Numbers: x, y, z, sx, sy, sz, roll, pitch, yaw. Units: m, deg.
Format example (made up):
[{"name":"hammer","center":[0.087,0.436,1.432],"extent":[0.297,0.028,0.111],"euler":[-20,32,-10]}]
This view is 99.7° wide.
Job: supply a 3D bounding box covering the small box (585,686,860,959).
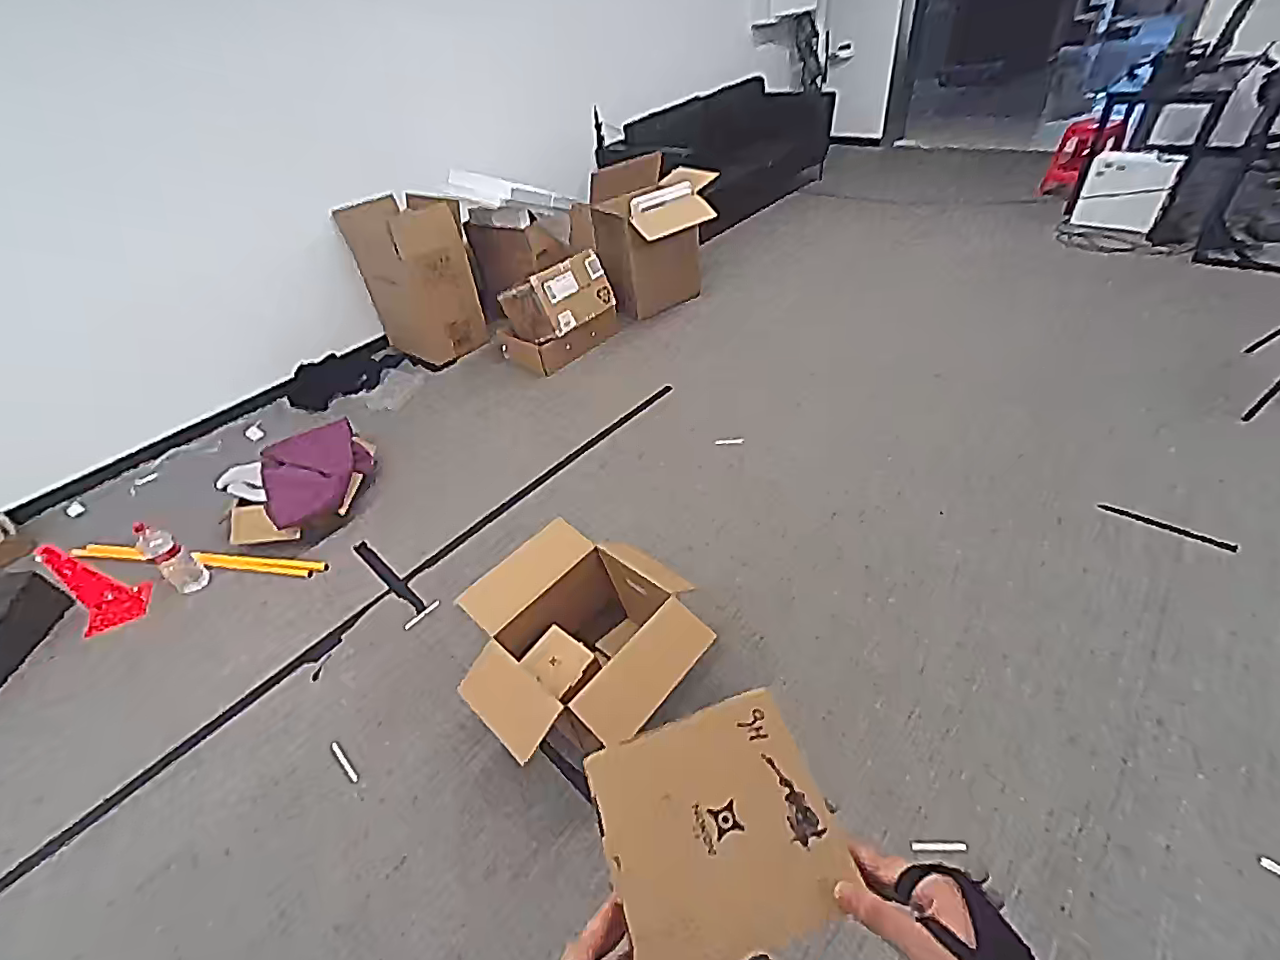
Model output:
[{"name":"small box","center":[0.067,0.321,0.493],"extent":[0.179,0.176,0.168],"euler":[-19,51,-6]}]
